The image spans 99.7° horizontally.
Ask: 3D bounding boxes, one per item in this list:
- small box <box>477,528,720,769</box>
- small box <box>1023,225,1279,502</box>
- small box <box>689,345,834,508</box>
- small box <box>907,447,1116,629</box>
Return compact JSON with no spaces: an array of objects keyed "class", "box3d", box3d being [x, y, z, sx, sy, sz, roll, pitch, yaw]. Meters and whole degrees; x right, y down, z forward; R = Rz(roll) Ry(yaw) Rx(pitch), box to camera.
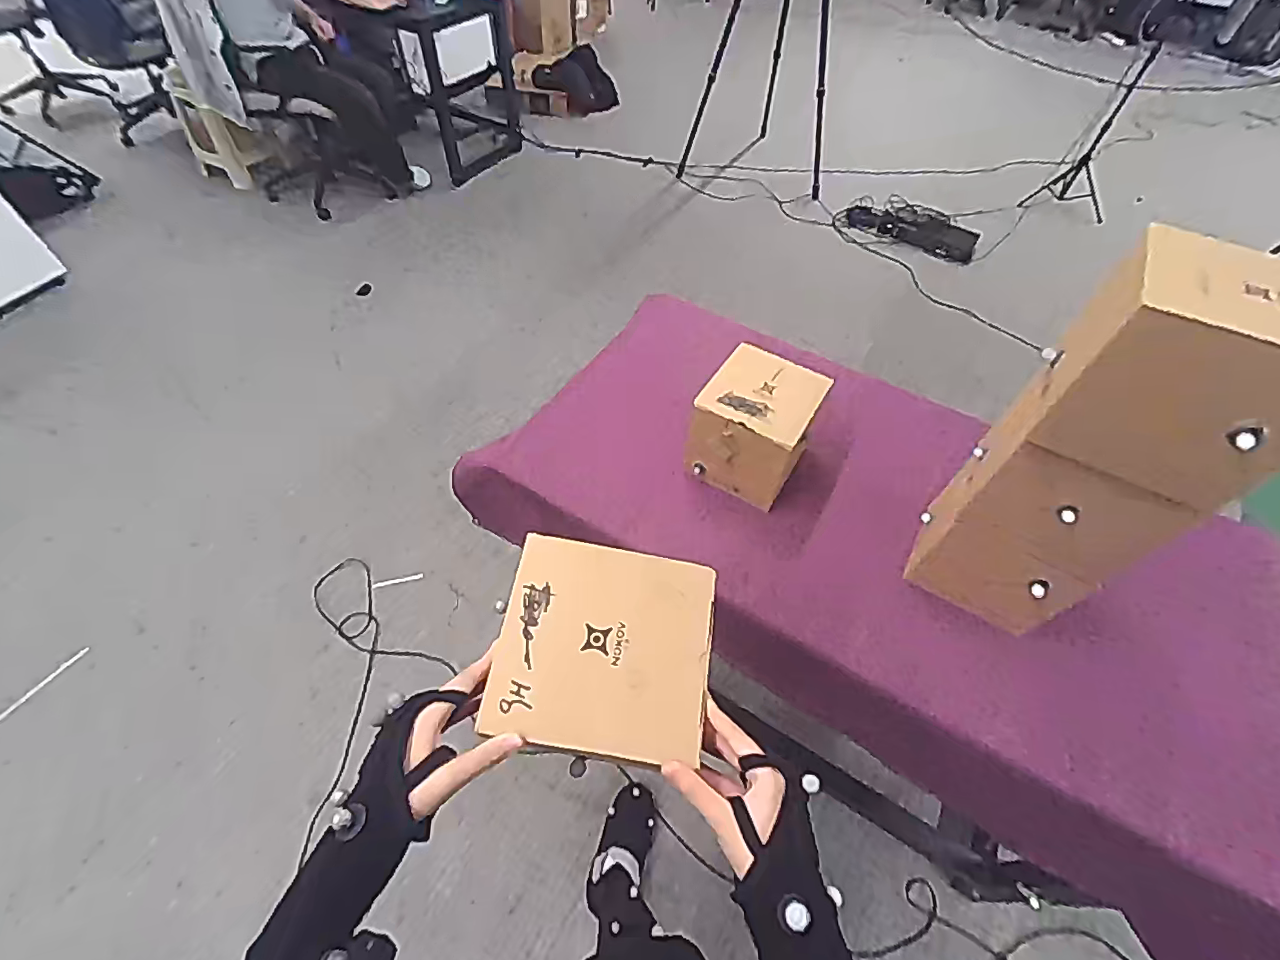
[{"class":"small box","box3d":[-0.038,0.168,0.519,0.179,0.176,0.168,13,60,-3]},{"class":"small box","box3d":[0.517,-0.104,0.515,0.179,0.176,0.168,29,57,18]},{"class":"small box","box3d":[0.193,-0.085,0.899,0.168,0.176,0.179,28,56,17]},{"class":"small box","box3d":[0.525,0.091,0.780,0.179,0.176,0.168,29,57,18]}]
